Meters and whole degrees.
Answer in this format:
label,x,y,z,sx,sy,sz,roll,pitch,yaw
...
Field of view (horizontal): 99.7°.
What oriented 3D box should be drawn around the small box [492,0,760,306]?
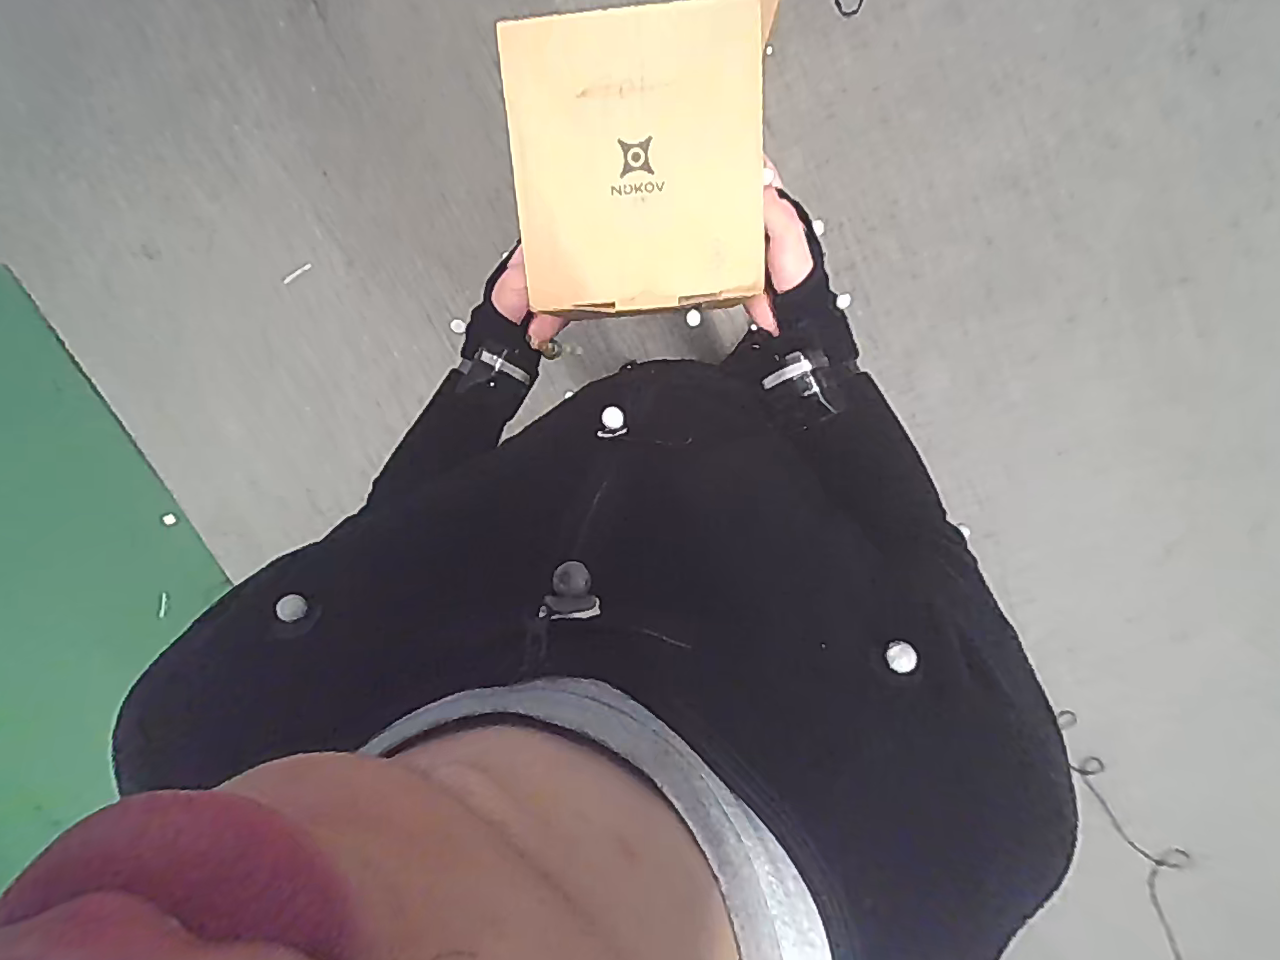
label,x,y,z,sx,sy,sz,roll,pitch,yaw
small box,-0.002,-0.234,0.425,0.168,0.176,0.179,-4,104,2
